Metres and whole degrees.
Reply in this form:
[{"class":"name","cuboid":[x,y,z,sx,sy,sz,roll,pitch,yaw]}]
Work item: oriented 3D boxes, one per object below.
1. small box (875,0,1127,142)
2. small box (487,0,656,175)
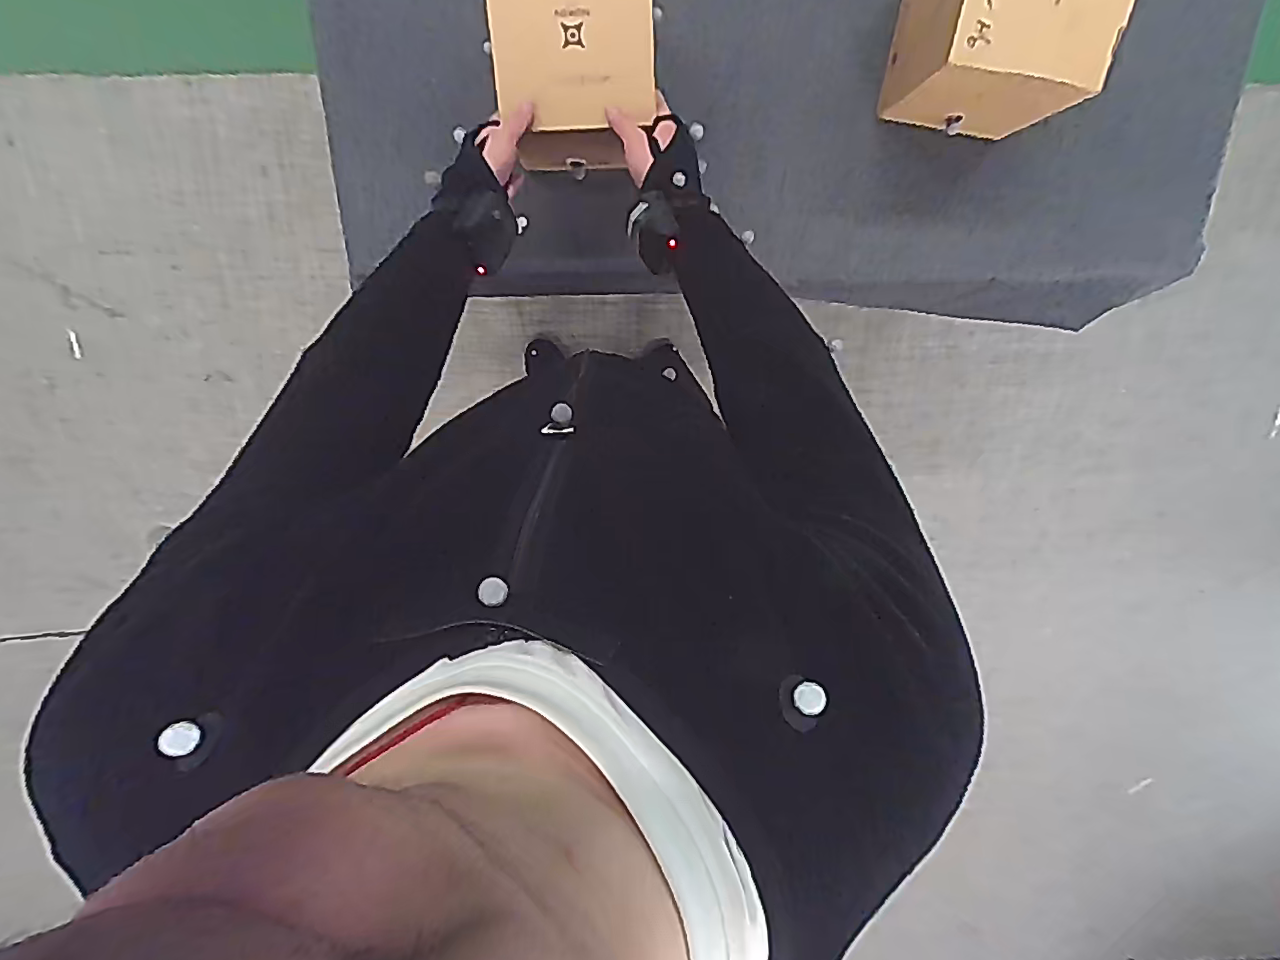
[{"class":"small box","cuboid":[0.411,-0.516,0.628,0.179,0.176,0.168,7,107,-5]},{"class":"small box","cuboid":[-0.068,-0.461,0.606,0.168,0.176,0.179,-1,107,0]}]
